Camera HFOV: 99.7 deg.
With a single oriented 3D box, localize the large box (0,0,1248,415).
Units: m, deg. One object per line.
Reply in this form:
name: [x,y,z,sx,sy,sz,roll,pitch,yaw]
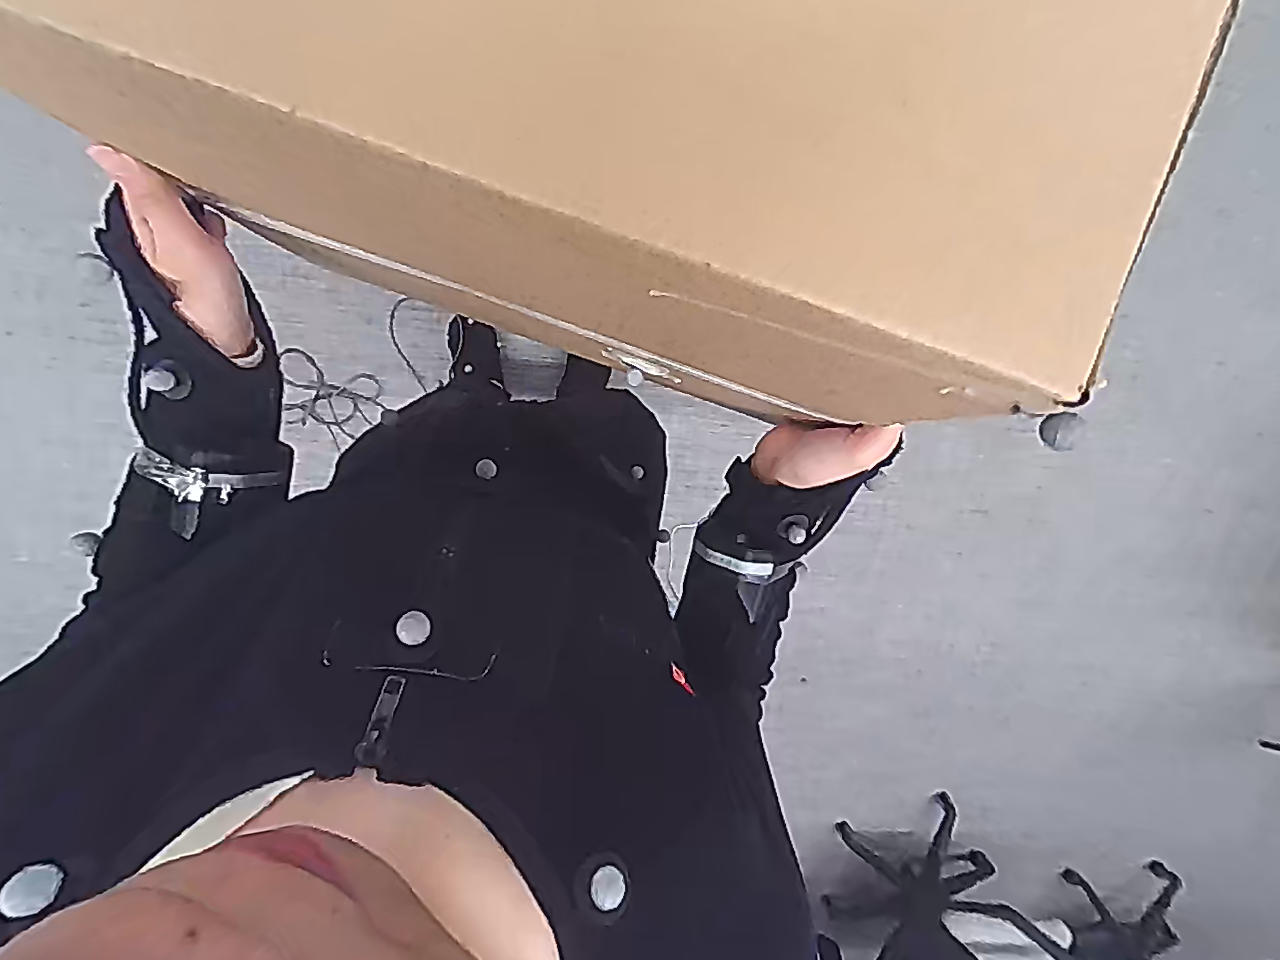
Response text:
large box: [-0.009,-0.249,0.286,0.408,0.320,0.320,18,95,-4]
